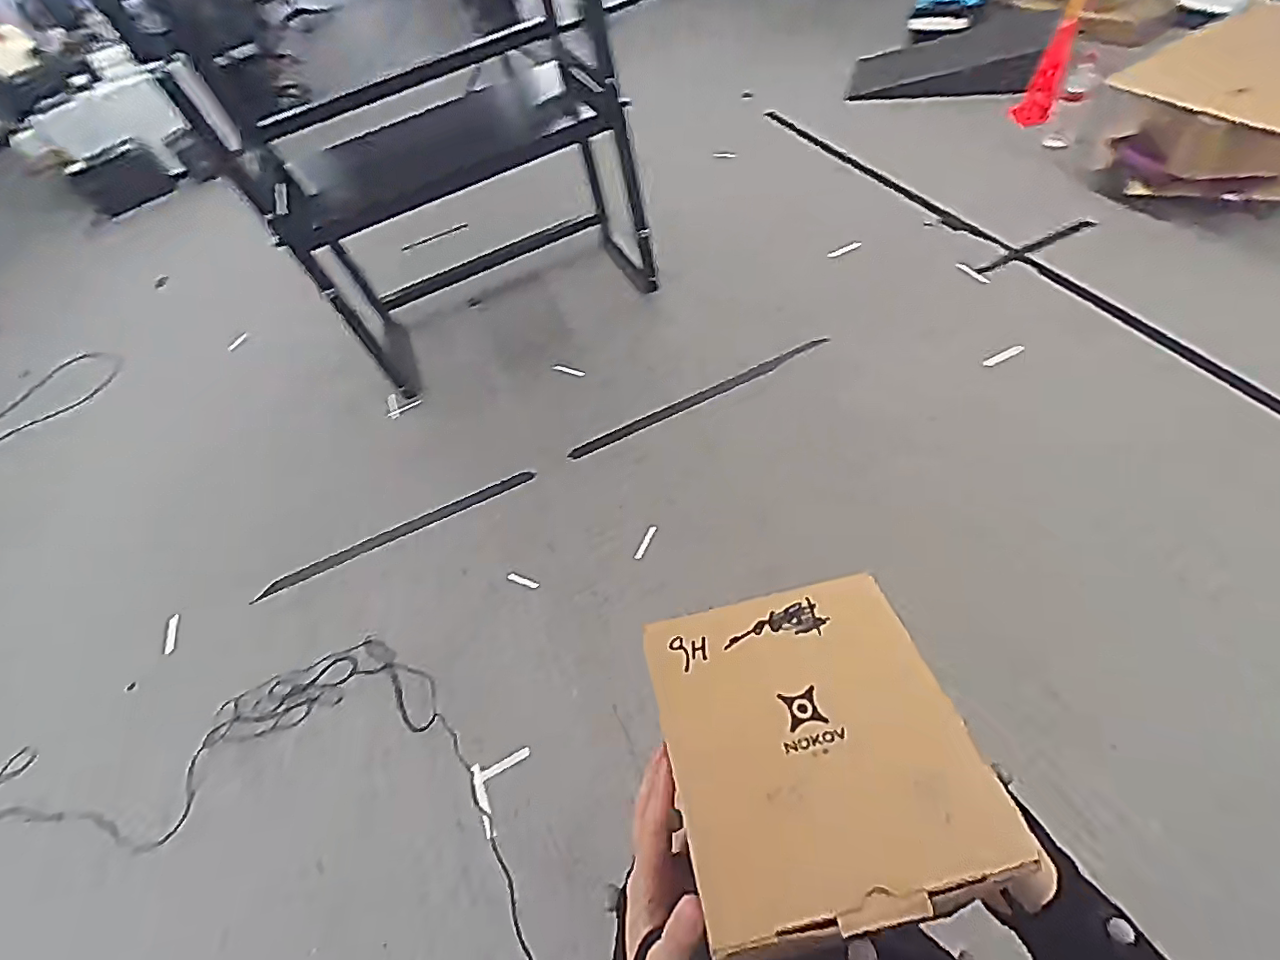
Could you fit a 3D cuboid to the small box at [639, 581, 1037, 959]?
[{"bbox_3d":[0.105,0.201,0.366,0.168,0.176,0.179,-14,46,-3],"label":"small box"}]
